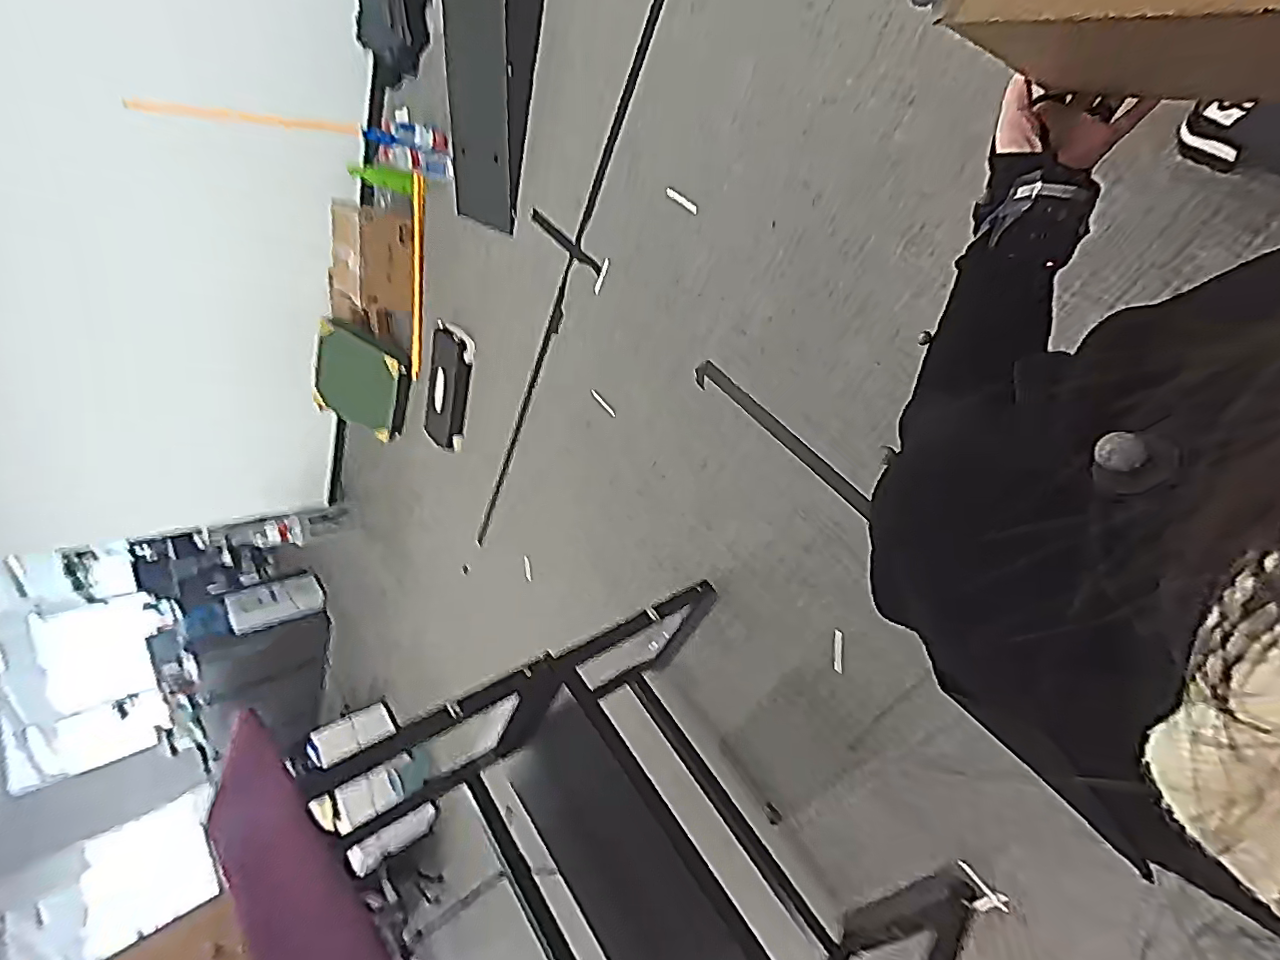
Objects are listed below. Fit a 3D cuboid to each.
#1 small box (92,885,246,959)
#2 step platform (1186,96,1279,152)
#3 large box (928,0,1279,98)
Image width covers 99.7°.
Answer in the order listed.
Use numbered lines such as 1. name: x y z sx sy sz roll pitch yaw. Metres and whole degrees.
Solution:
1. small box: -0.784 0.826 0.913 0.179 0.176 0.168 53 132 22
2. step platform: 1.179 -0.500 0.733 0.684 0.204 0.286 54 131 22
3. large box: 0.403 -0.328 0.182 0.408 0.320 0.320 30 129 33
